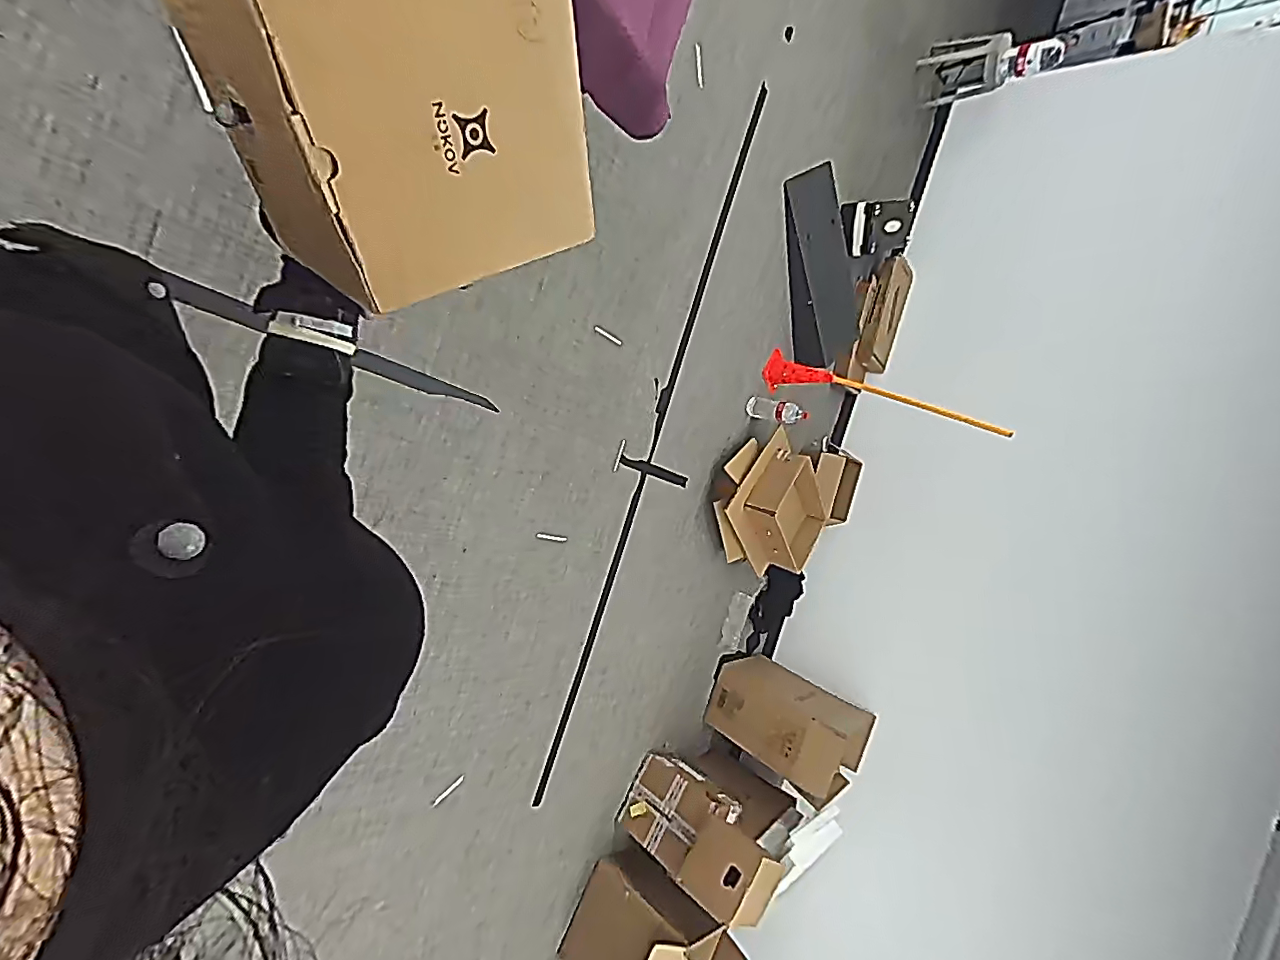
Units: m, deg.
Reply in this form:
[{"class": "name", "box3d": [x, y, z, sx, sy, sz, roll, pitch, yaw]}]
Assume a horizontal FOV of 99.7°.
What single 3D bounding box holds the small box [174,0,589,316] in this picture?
[{"class": "small box", "box3d": [-0.160, -0.241, 0.368, 0.179, 0.176, 0.168, -34, 141, -29]}]
